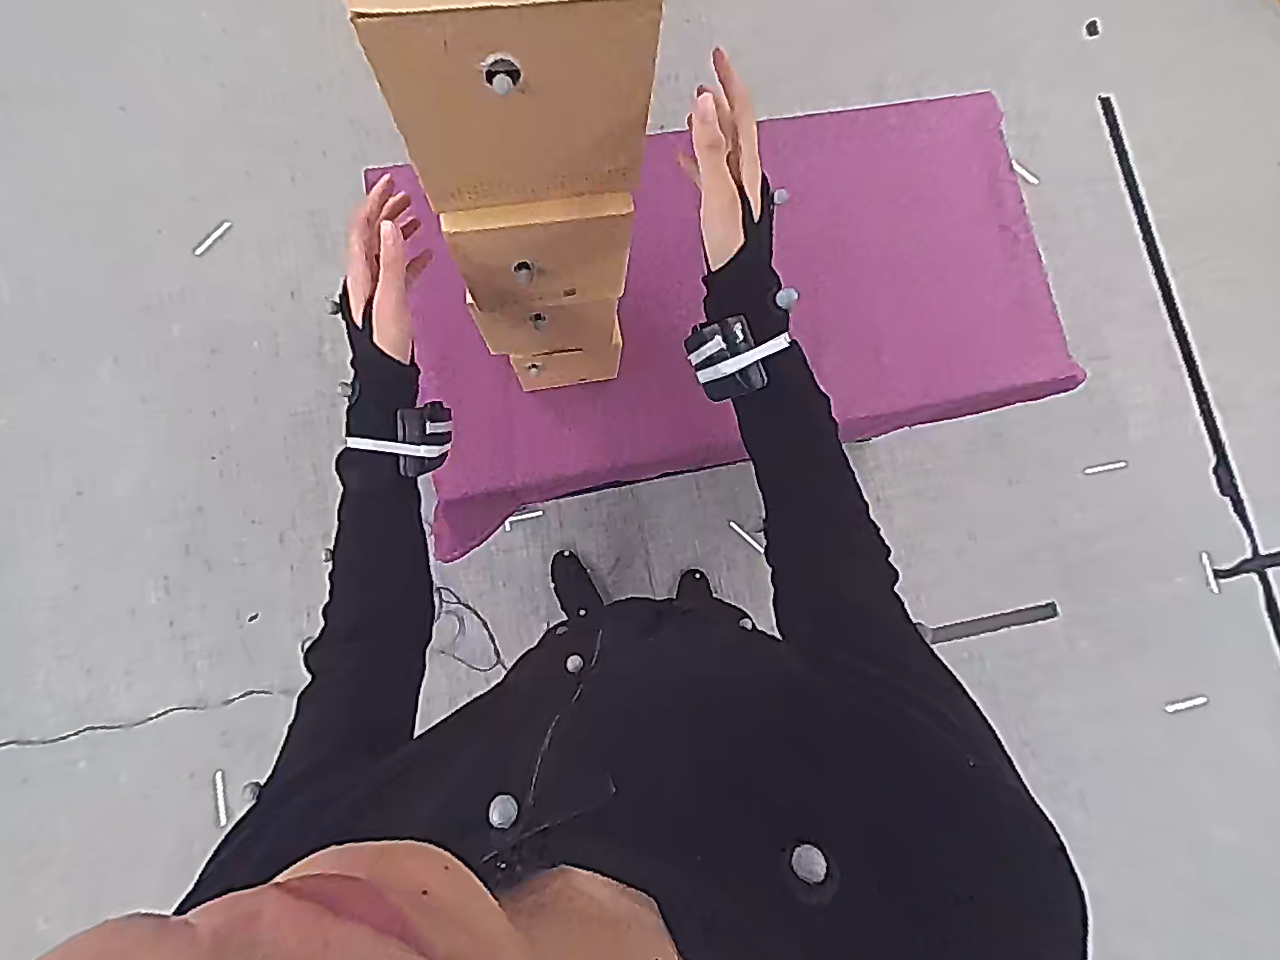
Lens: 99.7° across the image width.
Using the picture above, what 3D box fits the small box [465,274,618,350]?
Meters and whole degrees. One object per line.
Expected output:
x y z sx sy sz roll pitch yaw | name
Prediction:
-0.123 -0.277 0.709 0.179 0.176 0.168 -3 84 -6 | small box

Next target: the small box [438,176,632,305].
-0.106 -0.294 0.548 0.168 0.176 0.179 -10 83 -7 | small box

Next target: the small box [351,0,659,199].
-0.091 -0.330 0.388 0.179 0.176 0.168 -11 83 -7 | small box
